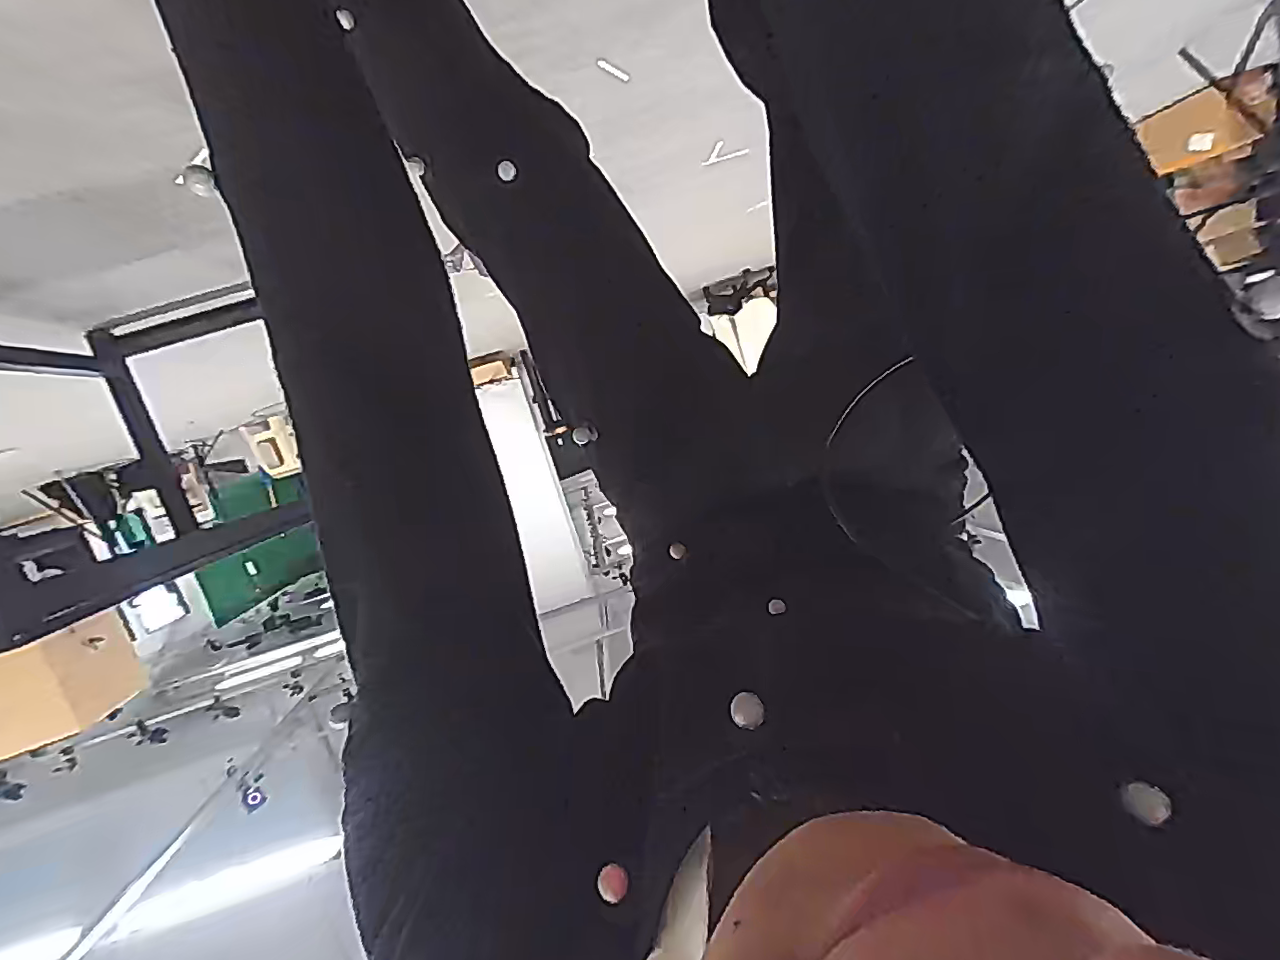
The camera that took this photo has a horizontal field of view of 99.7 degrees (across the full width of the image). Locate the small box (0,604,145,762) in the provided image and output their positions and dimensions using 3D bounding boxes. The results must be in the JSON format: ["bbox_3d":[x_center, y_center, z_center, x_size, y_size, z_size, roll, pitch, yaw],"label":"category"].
[{"bbox_3d":[-0.950,0.315,0.843,0.179,0.176,0.168,-19,-170,-12],"label":"small box"}]
